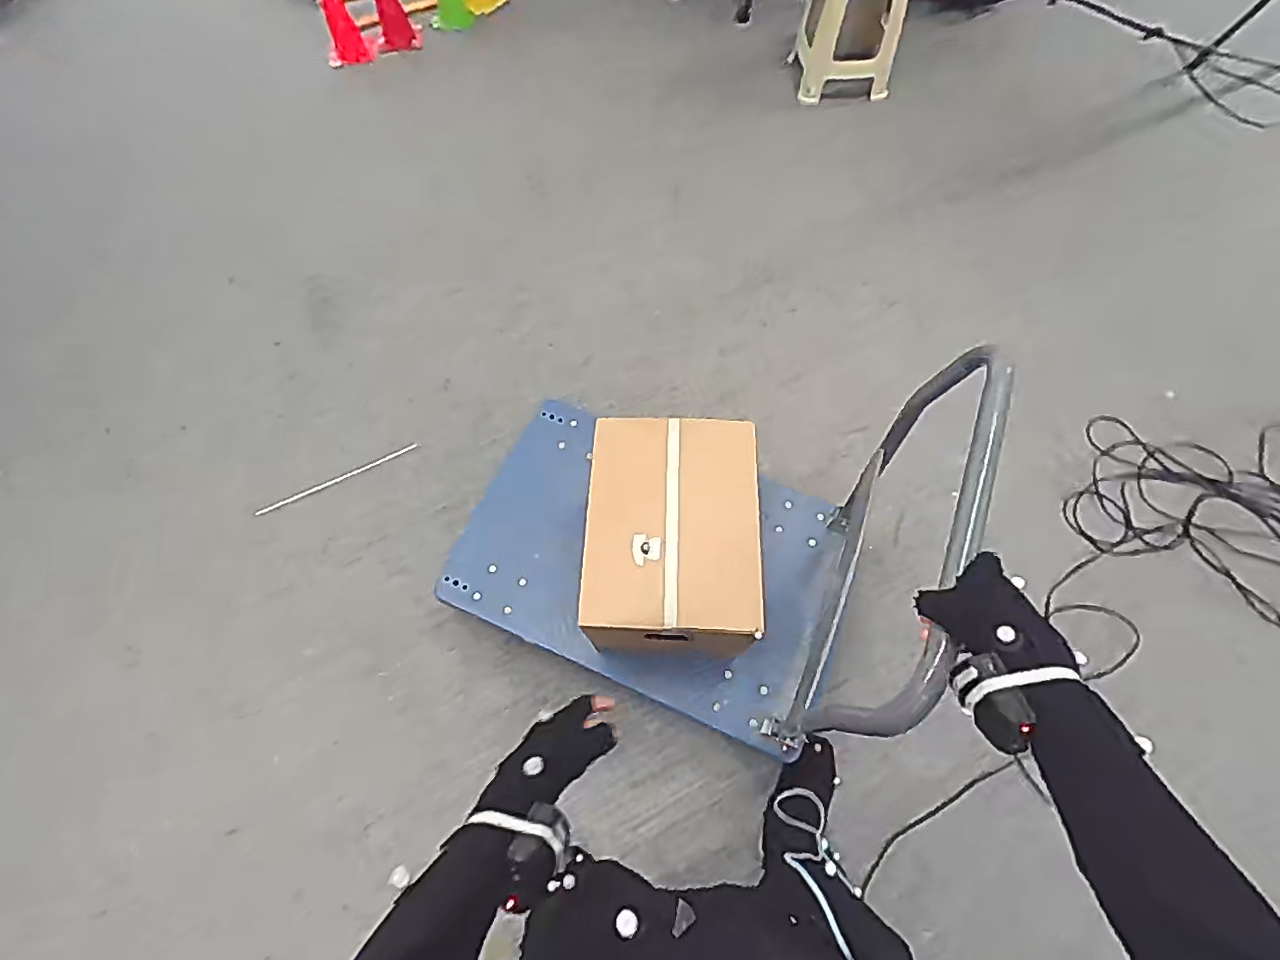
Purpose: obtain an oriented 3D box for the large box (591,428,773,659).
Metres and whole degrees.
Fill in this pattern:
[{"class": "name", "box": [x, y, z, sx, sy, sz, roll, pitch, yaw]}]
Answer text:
[{"class": "large box", "box": [0.077, 0.141, 1.116, 0.320, 0.320, 0.408, 1, 66, 3]}]
